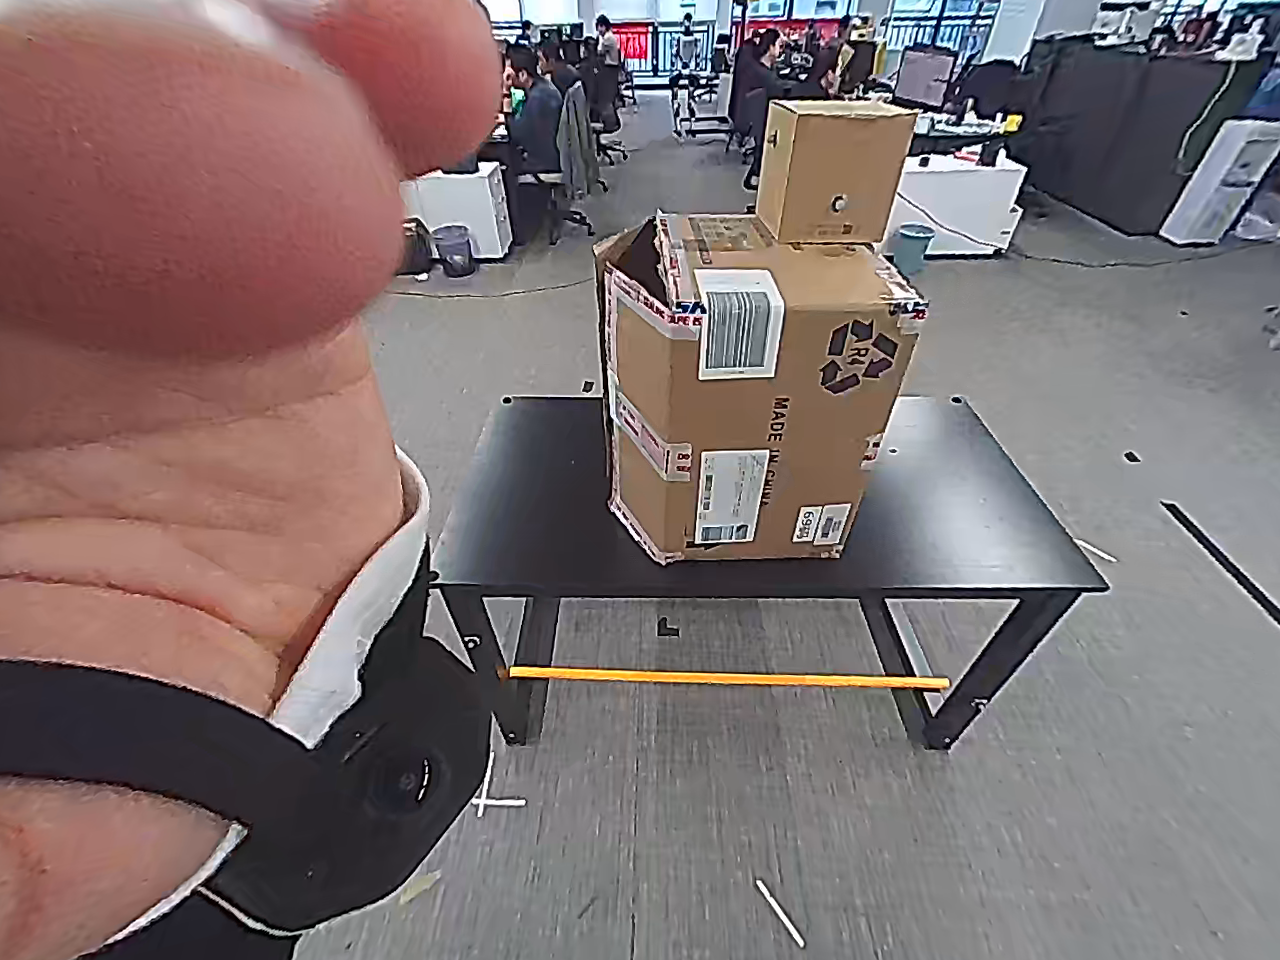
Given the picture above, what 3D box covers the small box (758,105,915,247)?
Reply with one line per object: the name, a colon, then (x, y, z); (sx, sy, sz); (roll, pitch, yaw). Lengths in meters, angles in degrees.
small box: (0.290, -0.478, 0.847); (0.168, 0.176, 0.179); (-1, 40, -2)
